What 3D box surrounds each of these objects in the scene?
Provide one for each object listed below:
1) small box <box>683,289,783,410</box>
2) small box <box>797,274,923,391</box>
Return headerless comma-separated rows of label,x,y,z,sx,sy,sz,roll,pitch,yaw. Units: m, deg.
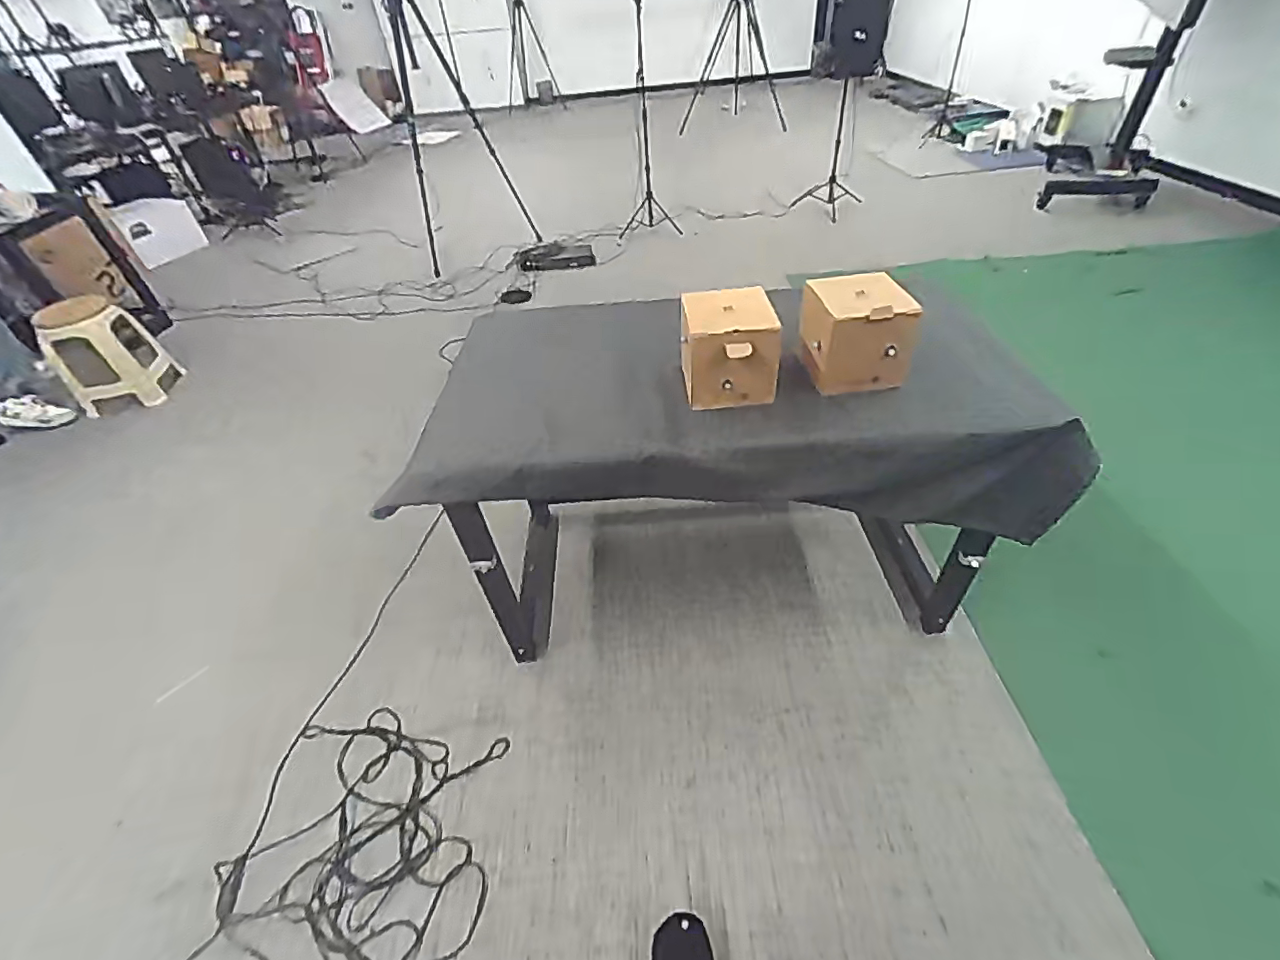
small box,0.174,-0.258,1.070,0.168,0.176,0.179,-5,43,0
small box,0.424,-0.287,1.073,0.168,0.176,0.179,-6,41,-2
